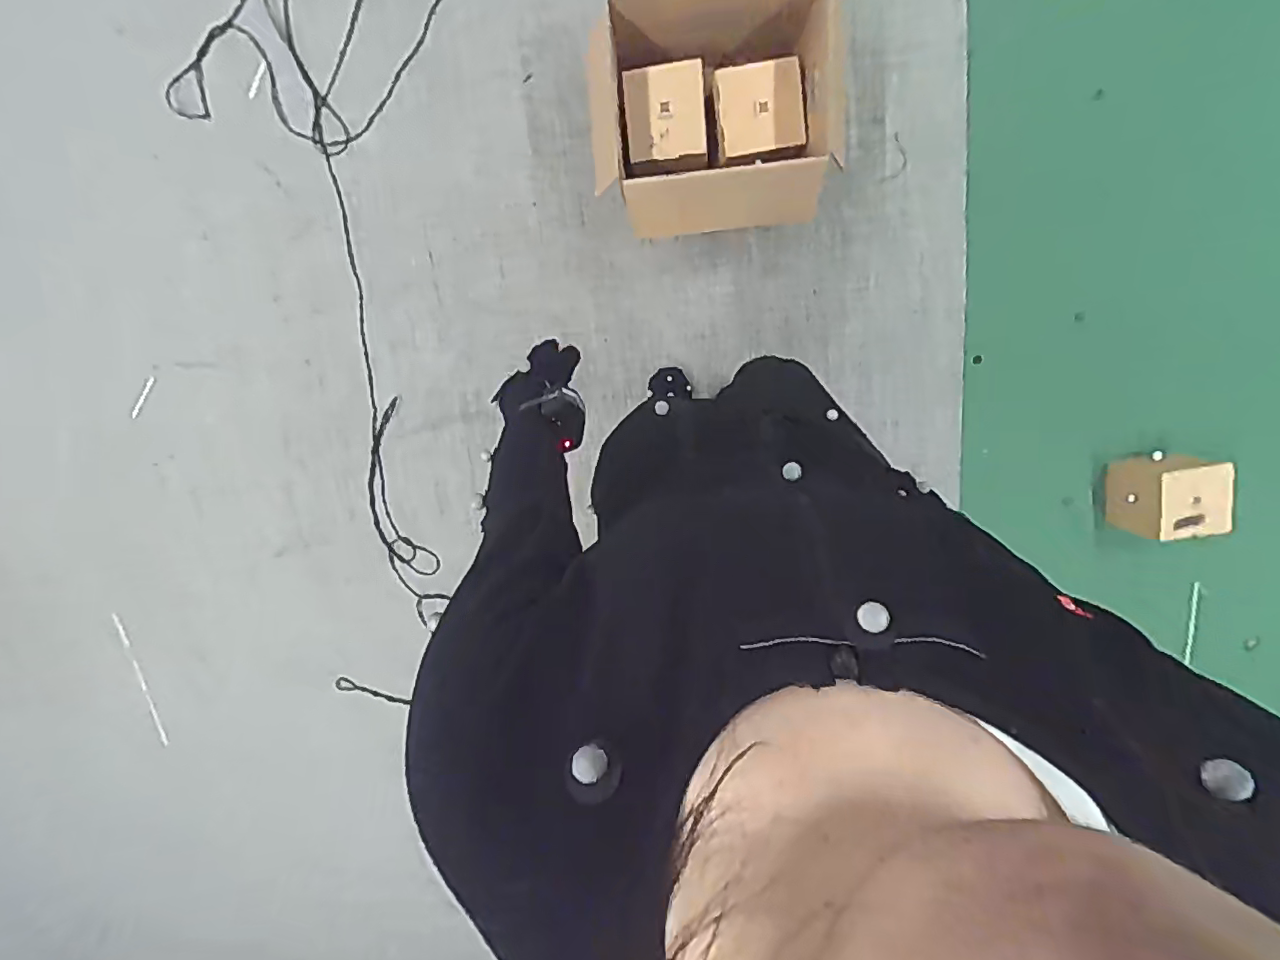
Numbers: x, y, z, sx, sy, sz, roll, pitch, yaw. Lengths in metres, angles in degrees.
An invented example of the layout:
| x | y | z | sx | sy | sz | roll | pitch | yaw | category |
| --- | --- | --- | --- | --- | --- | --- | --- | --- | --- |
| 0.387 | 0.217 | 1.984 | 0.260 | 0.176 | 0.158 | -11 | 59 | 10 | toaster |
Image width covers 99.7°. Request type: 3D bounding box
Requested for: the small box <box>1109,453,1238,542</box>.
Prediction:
| x | y | z | sx | sy | sz | roll | pitch | yaw | category |
| --- | --- | --- | --- | --- | --- | --- | --- | --- | --- |
| 1.338 | 0.040 | 1.369 | 0.168 | 0.176 | 0.179 | -9 | 102 | 4 | small box |
